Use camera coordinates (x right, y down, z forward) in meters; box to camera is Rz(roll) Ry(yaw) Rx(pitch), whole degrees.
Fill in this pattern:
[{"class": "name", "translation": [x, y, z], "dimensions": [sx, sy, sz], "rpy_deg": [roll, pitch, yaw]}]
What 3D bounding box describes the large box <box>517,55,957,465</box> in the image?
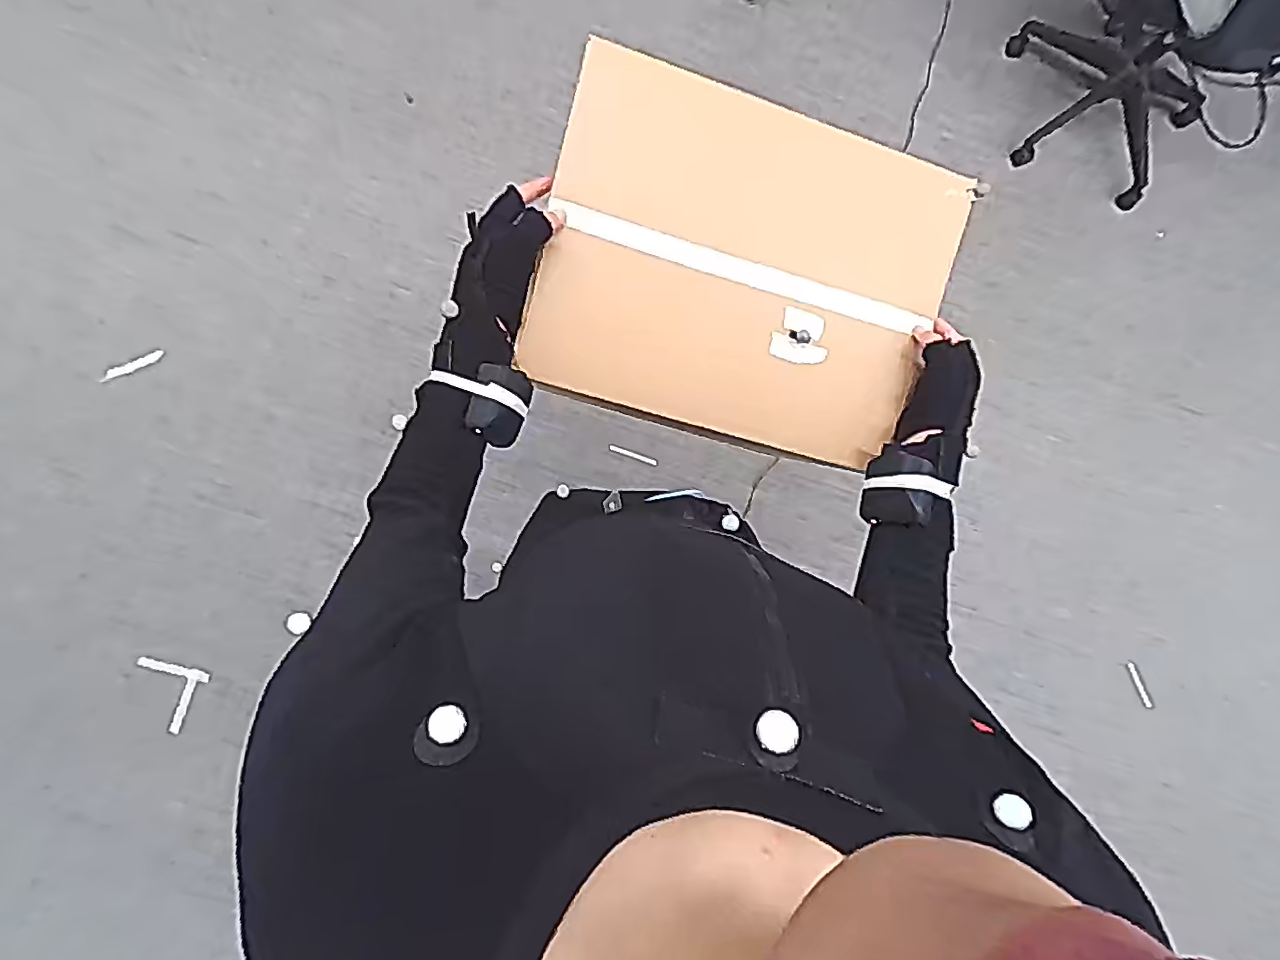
[{"class": "large box", "translation": [0.085, -0.228, 0.695], "dimensions": [0.408, 0.320, 0.320], "rpy_deg": [15, 97, -9]}]
